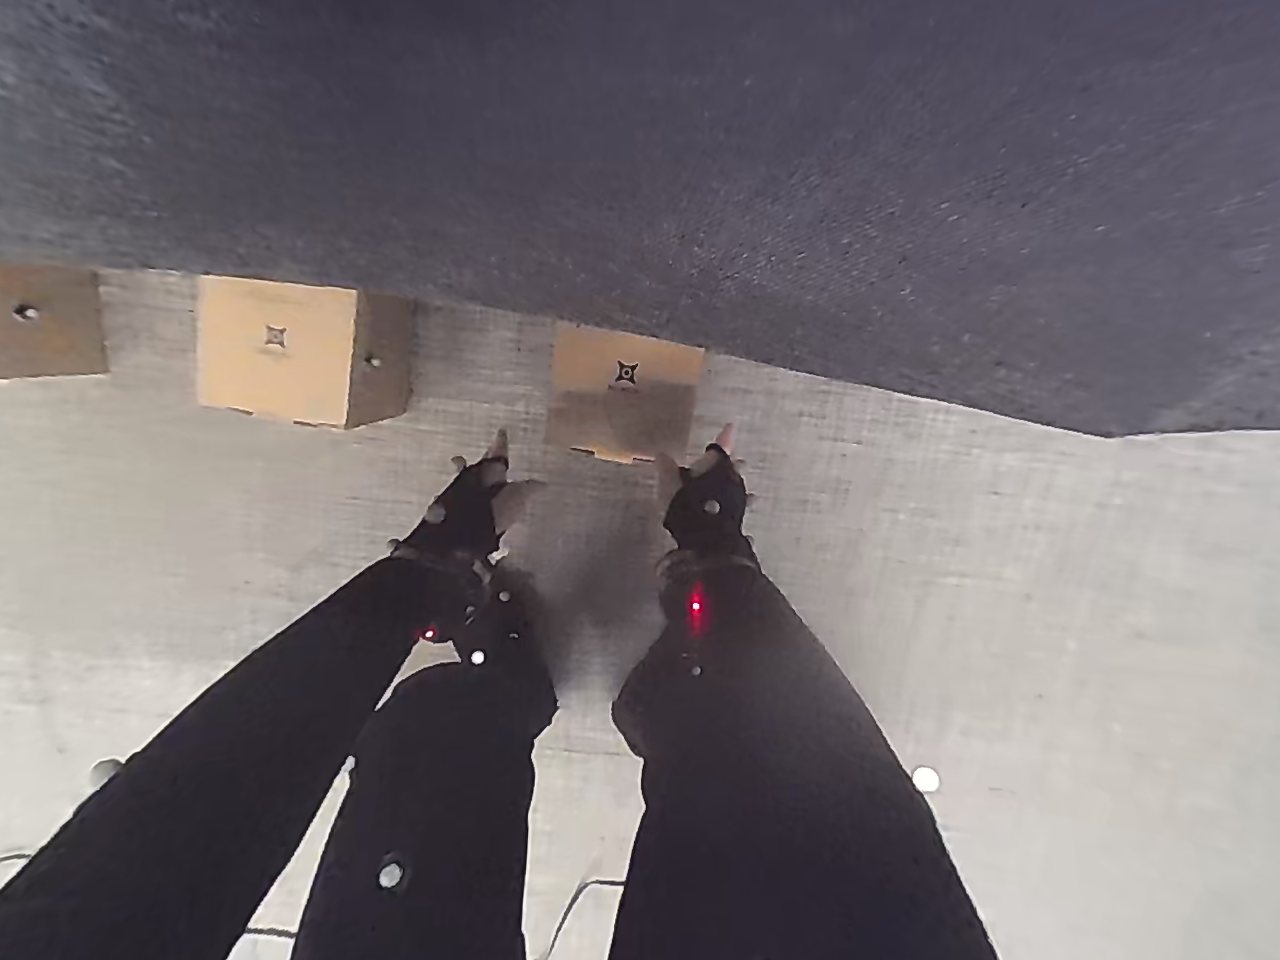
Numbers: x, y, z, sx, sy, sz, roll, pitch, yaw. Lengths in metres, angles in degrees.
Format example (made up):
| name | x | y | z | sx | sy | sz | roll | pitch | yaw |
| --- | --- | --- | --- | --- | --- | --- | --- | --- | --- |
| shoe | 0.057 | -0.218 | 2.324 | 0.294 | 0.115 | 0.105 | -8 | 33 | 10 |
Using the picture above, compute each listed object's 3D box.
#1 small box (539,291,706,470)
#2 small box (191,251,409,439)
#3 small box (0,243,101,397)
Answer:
| name | x | y | z | sx | sy | sz | roll | pitch | yaw |
| --- | --- | --- | --- | --- | --- | --- | --- | --- | --- |
| small box | -0.020 | -0.123 | 0.670 | 0.168 | 0.176 | 0.179 | 8 | 102 | -2 |
| small box | -0.399 | -0.158 | 0.660 | 0.168 | 0.176 | 0.179 | 9 | 101 | -4 |
| small box | -0.811 | -0.196 | 0.644 | 0.168 | 0.176 | 0.179 | 4 | 104 | -1 |
